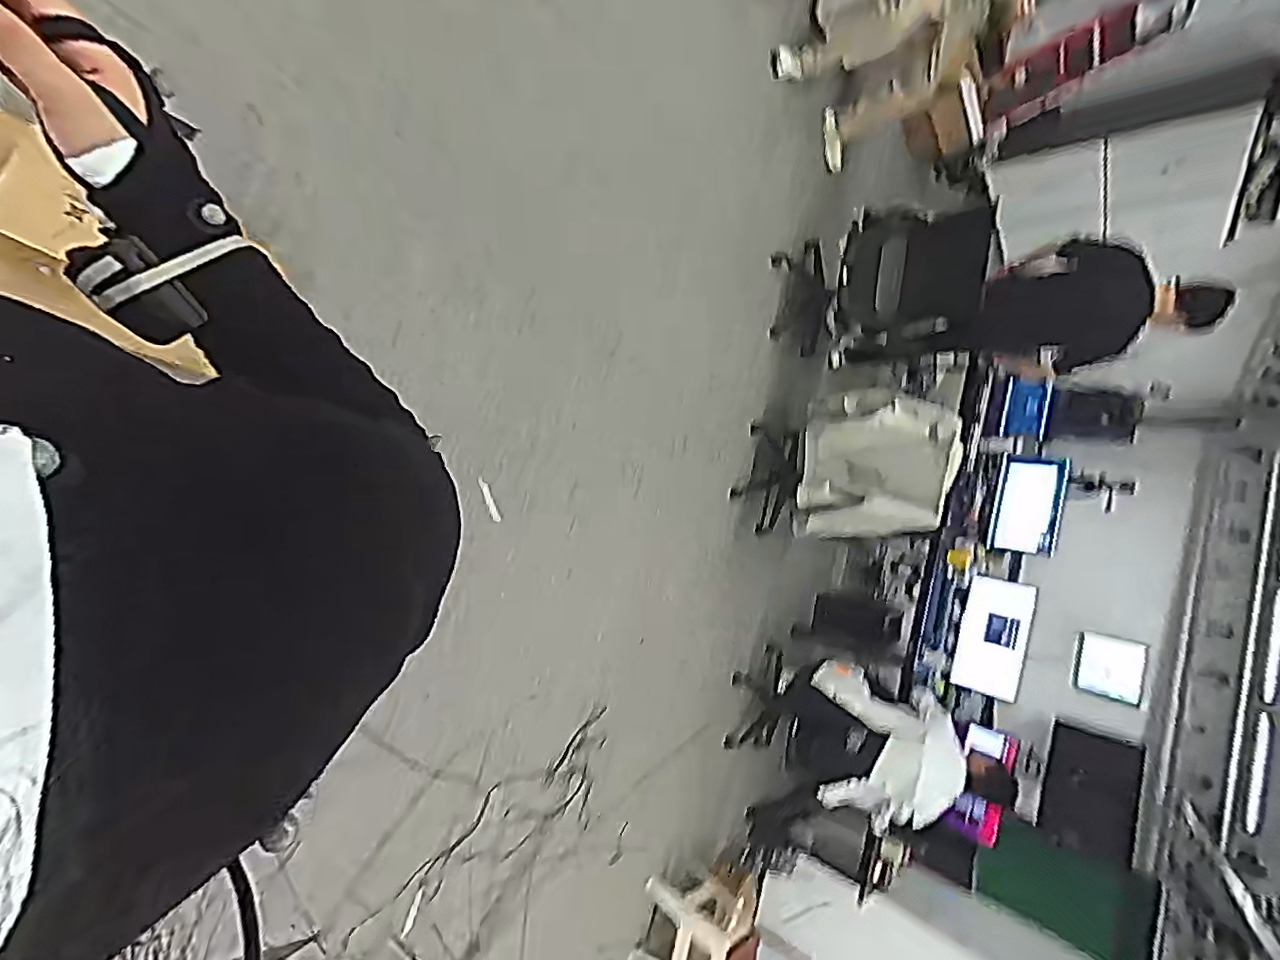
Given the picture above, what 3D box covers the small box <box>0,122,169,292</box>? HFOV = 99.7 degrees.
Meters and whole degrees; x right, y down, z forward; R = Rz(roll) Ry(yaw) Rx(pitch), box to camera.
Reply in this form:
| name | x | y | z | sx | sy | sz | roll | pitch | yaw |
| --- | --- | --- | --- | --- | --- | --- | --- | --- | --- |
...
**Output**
| name | x | y | z | sx | sy | sz | roll | pitch | yaw |
| --- | --- | --- | --- | --- | --- | --- | --- | --- | --- |
| small box | -0.935 | -0.438 | 0.899 | 0.168 | 0.176 | 0.179 | 30 | 75 | -46 |
